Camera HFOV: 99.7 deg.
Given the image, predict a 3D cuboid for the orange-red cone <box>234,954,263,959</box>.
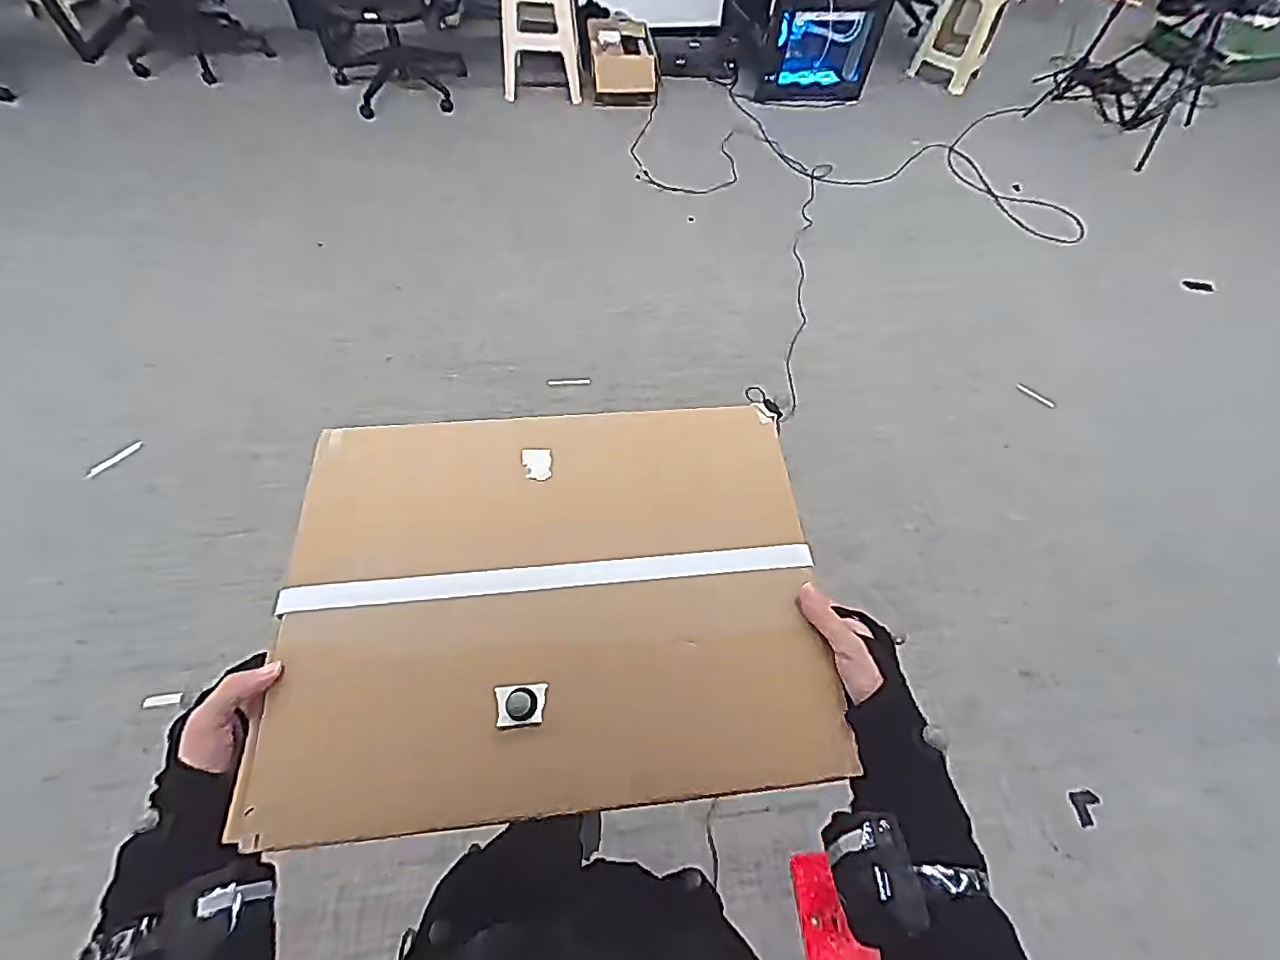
[{"bbox_3d":[-0.769,0.897,0.808,0.199,0.360,0.198,-12,60,-9],"label":"orange-red cone"}]
